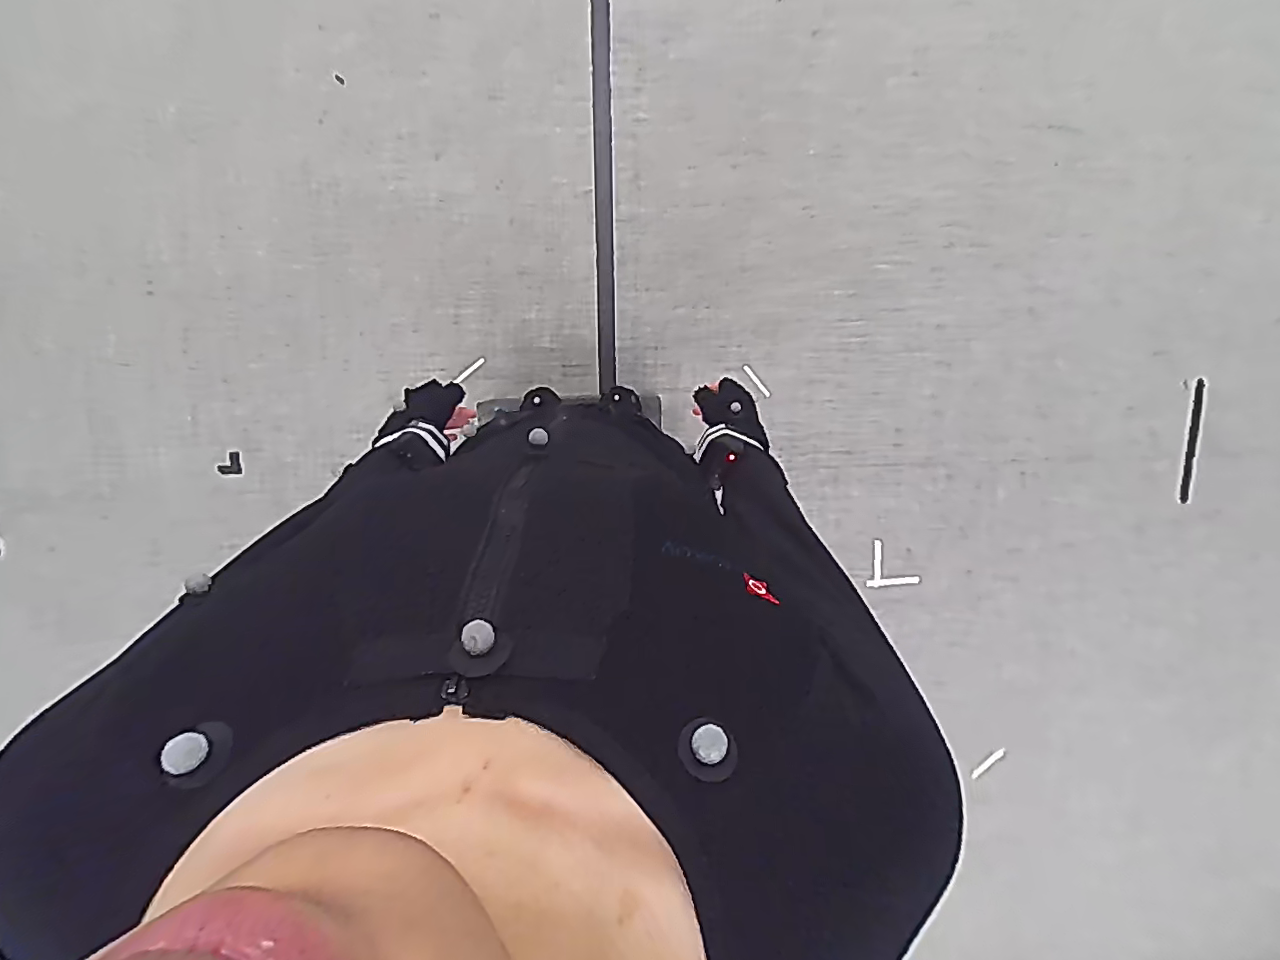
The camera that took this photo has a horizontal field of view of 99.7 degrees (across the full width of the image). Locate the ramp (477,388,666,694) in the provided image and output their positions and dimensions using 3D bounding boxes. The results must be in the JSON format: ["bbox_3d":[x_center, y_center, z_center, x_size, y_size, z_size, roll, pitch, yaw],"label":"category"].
[{"bbox_3d":[-0.170,0.229,1.609,0.509,0.206,0.991,-4,102,-3],"label":"ramp"}]
